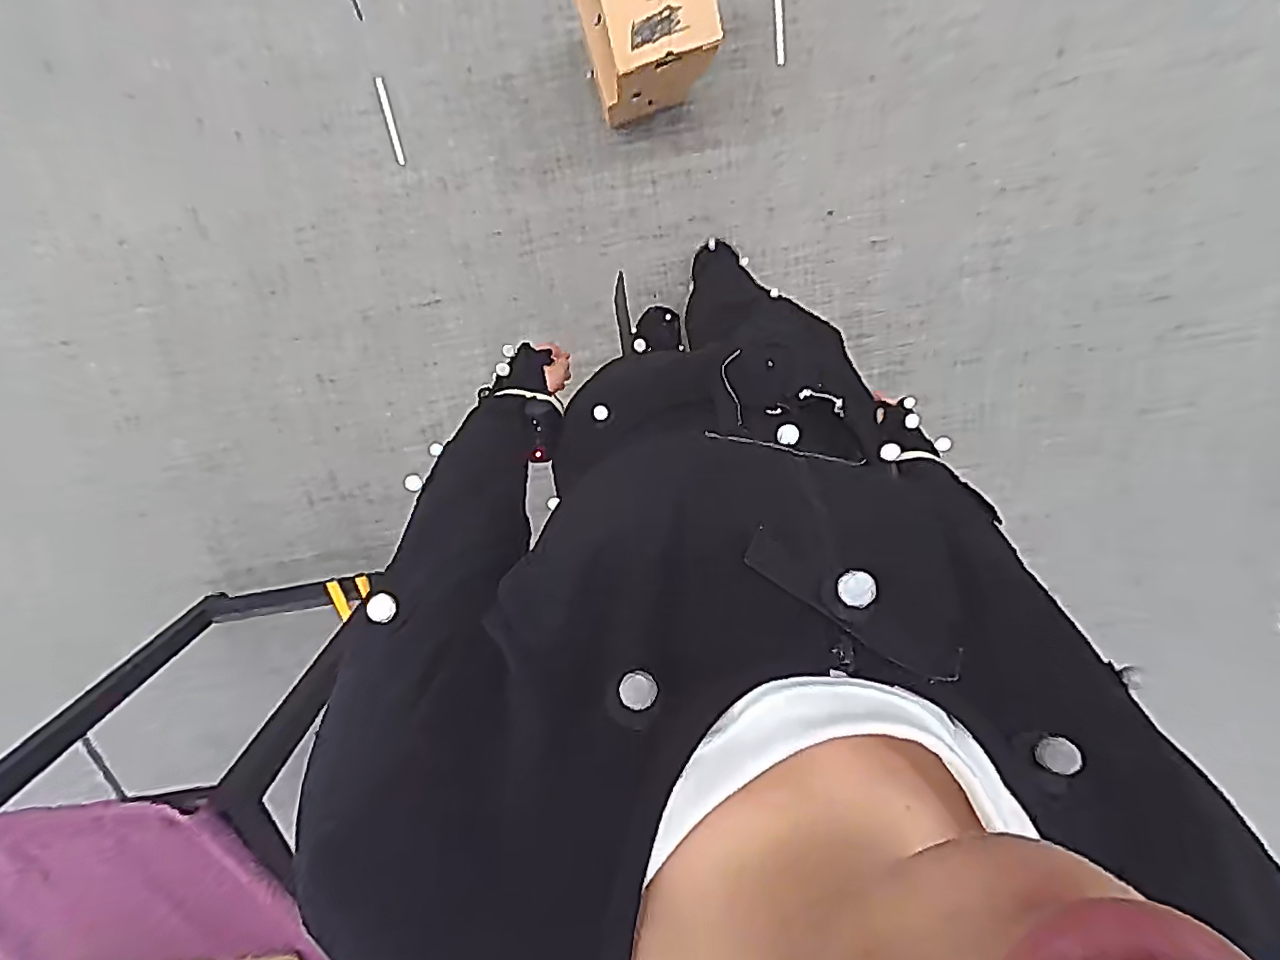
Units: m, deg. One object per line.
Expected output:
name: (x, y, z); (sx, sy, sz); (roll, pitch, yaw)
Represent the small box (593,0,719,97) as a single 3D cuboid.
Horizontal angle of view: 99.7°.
small box: (0.019, -0.737, 0.853); (0.168, 0.176, 0.179); (-15, 111, 3)
